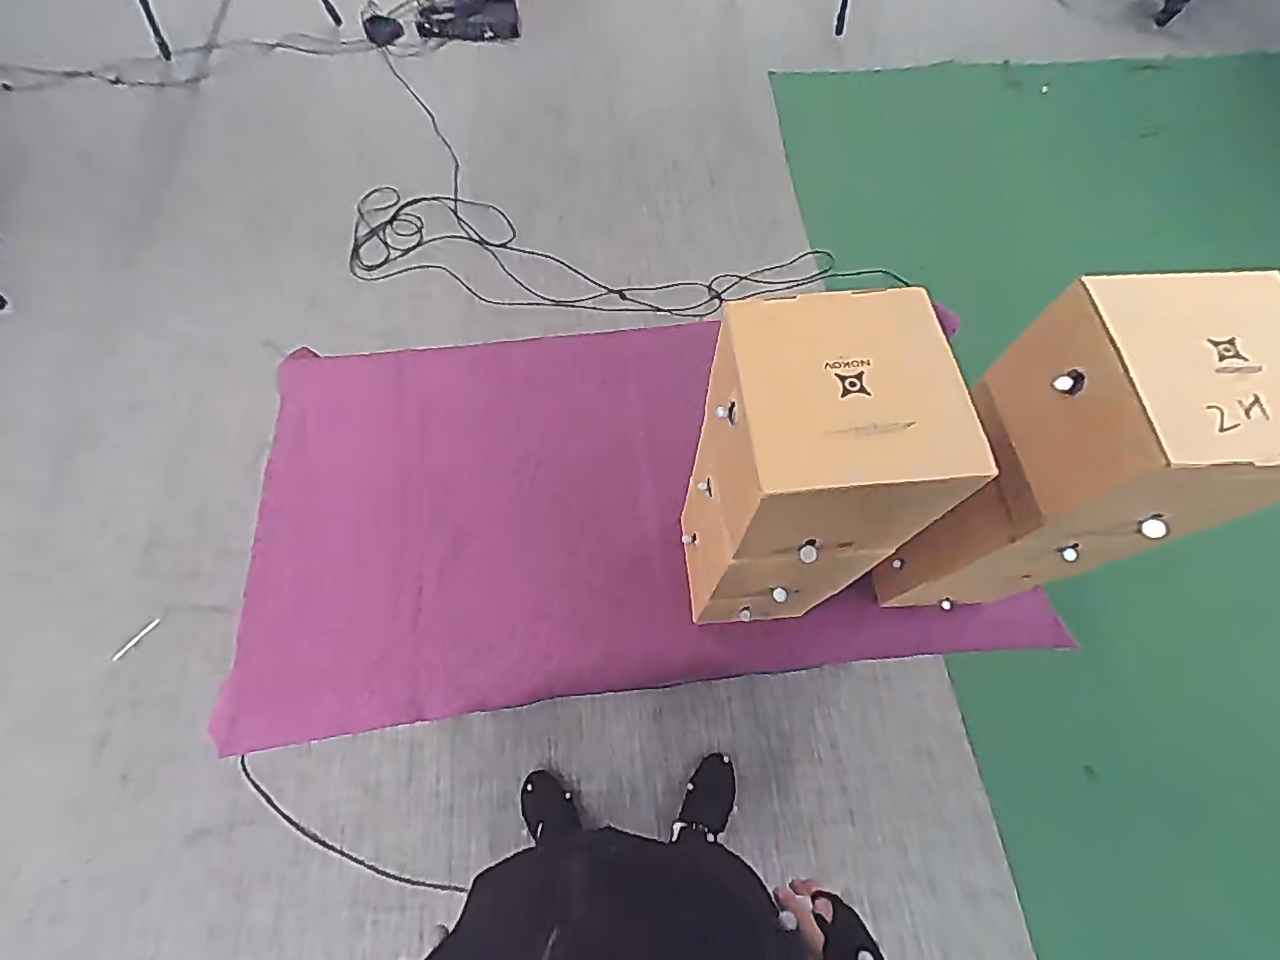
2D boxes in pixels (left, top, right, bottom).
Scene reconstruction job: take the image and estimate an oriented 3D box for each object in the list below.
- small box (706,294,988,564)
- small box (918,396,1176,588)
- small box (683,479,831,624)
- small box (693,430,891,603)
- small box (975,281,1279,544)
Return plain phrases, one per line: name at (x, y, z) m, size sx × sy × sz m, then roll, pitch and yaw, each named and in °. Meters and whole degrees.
small box at (0.155, -0.036, 0.479) m, size 0.168 × 0.176 × 0.179 m, roll -4°, pitch 65°, yaw -1°
small box at (0.438, 0.019, 0.631) m, size 0.168 × 0.176 × 0.179 m, roll -2°, pitch 65°, yaw 0°
small box at (0.154, 0.106, 0.774) m, size 0.168 × 0.176 × 0.179 m, roll -4°, pitch 64°, yaw -2°
small box at (0.156, 0.035, 0.626) m, size 0.168 × 0.176 × 0.179 m, roll -3°, pitch 65°, yaw -1°
small box at (0.438, -0.052, 0.482) m, size 0.168 × 0.176 × 0.179 m, roll -1°, pitch 66°, yaw 0°
